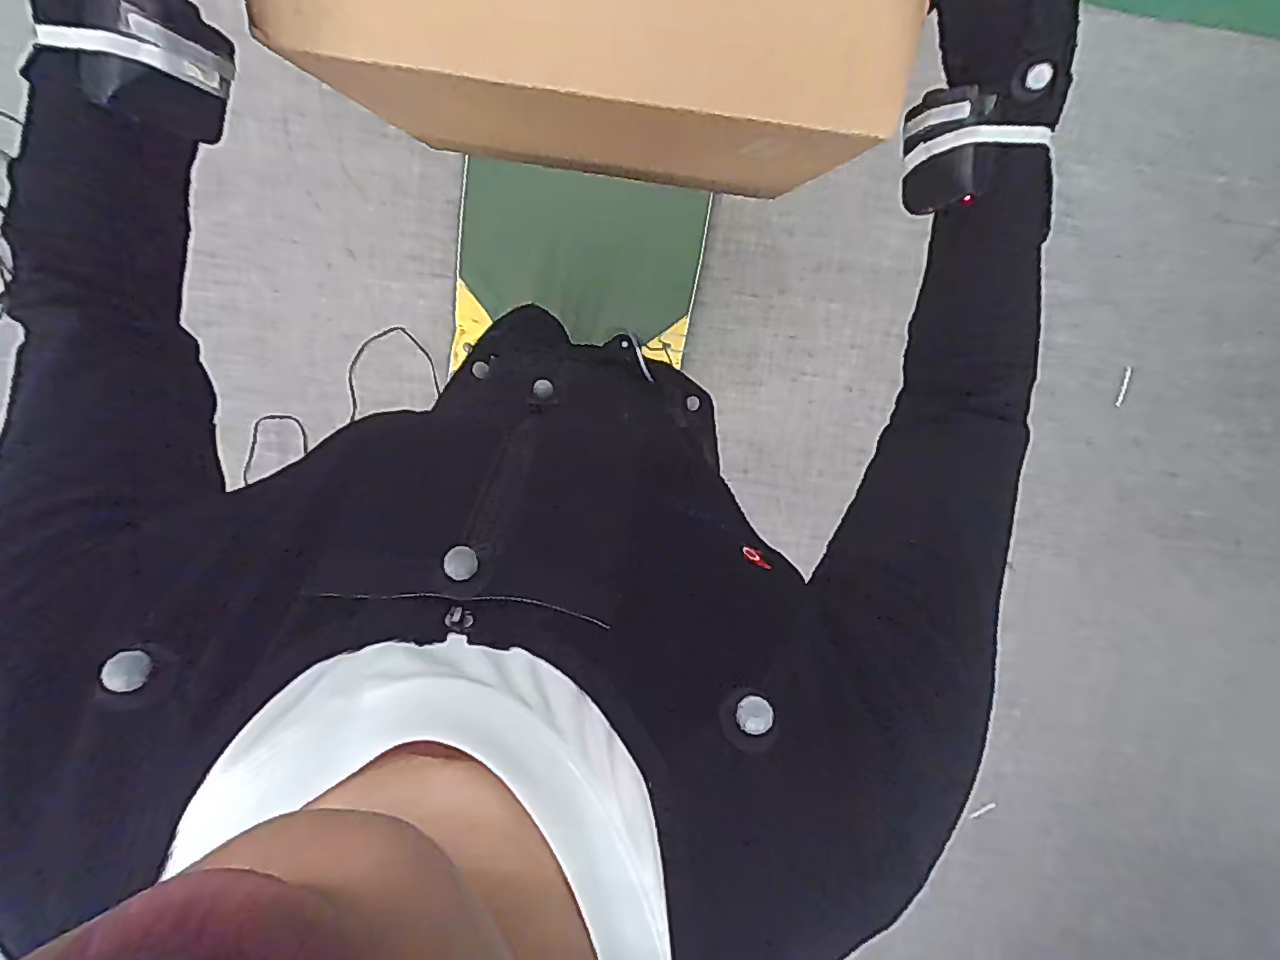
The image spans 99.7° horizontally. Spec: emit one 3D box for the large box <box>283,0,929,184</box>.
[{"bbox_3d":[-0.013,-0.452,0.432,0.408,0.320,0.320,5,112,-4],"label":"large box"}]
